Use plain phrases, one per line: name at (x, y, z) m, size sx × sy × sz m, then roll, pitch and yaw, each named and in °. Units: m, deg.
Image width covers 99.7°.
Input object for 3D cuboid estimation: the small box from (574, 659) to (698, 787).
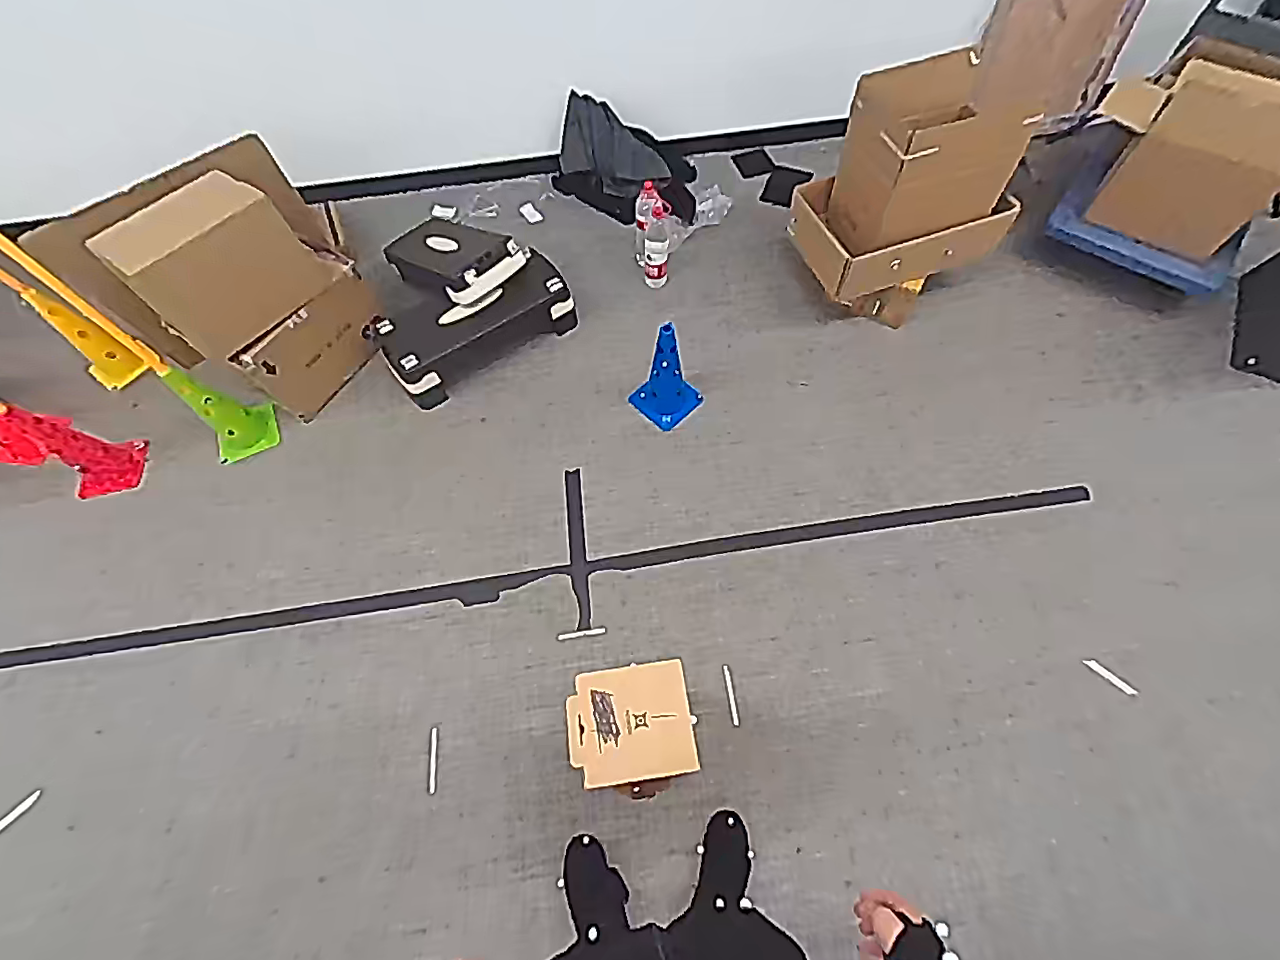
small box at (-0.007, 0.408, 0.903) m, size 0.179 × 0.176 × 0.168 m, roll -7°, pitch 63°, yaw -3°
